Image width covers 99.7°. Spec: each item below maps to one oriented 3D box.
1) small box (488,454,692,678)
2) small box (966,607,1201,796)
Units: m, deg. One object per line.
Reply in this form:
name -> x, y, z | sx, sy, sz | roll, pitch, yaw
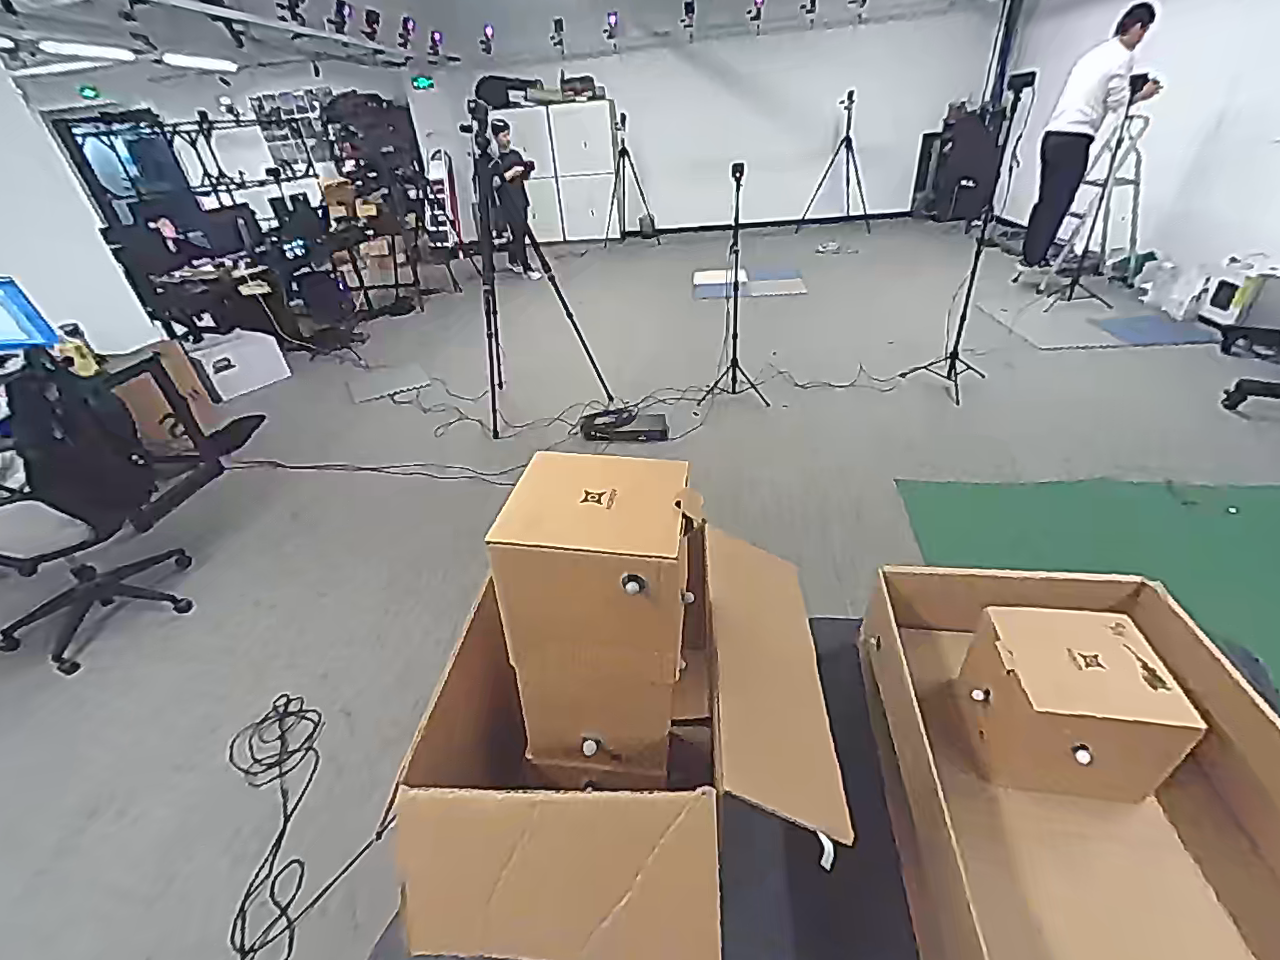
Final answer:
small box -> -0.039, 0.087, 0.576 | 0.179, 0.176, 0.168 | 4, 33, 6
small box -> 0.556, 0.290, 0.716 | 0.179, 0.176, 0.168 | 0, 35, 12
